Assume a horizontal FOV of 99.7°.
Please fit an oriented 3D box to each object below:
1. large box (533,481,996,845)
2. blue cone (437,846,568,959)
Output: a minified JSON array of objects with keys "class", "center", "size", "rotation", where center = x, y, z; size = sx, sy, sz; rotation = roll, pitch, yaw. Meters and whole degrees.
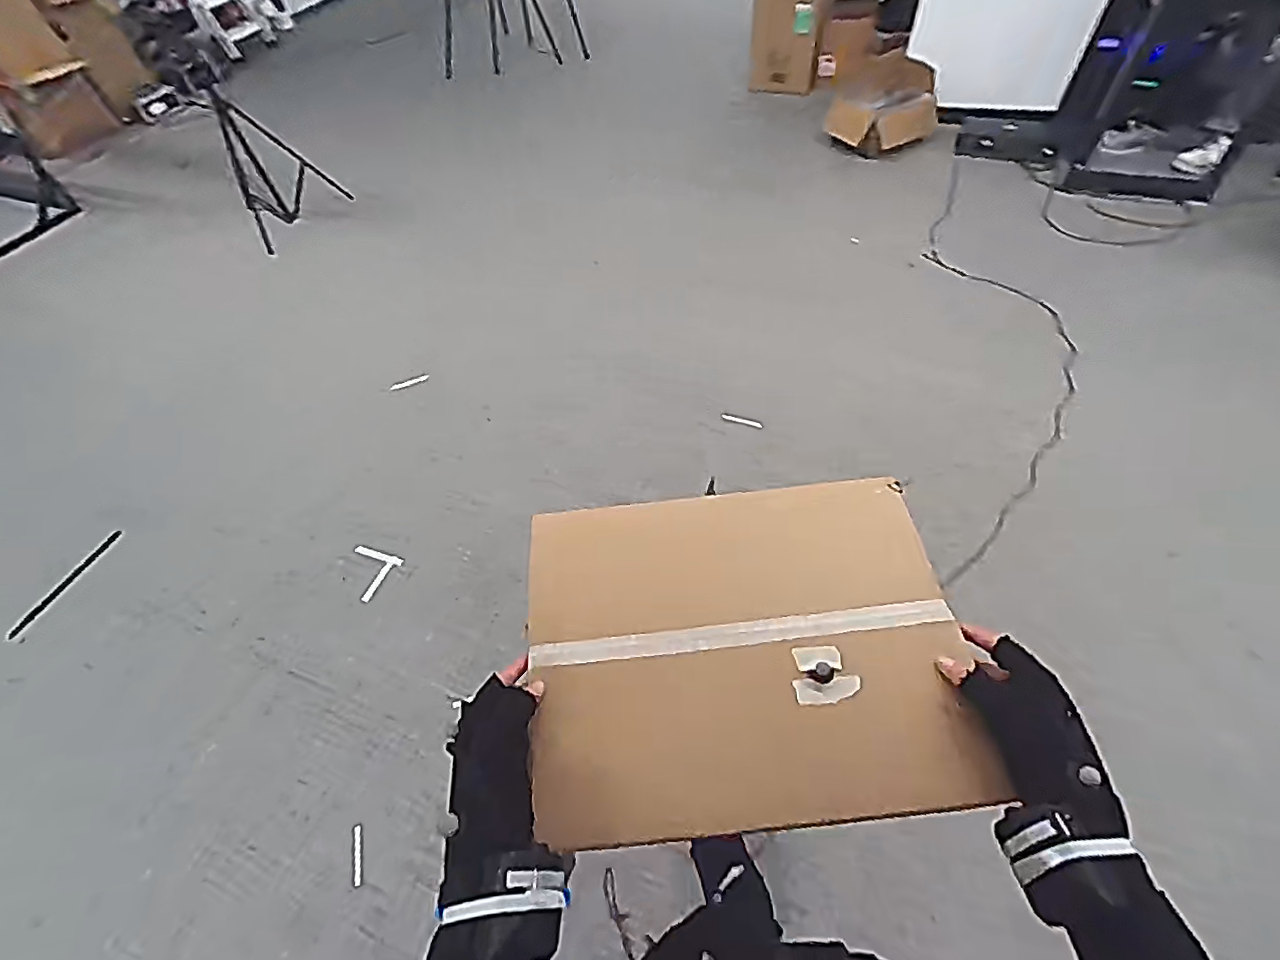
[{"class":"large box","center":[0.099,0.235,0.658],"size":[0.408,0.320,0.320],"rotation":[-7,57,0]},{"class":"blue cone","center":[-0.289,0.830,1.036],"size":[0.193,0.380,0.192],"rotation":[35,65,28]}]
